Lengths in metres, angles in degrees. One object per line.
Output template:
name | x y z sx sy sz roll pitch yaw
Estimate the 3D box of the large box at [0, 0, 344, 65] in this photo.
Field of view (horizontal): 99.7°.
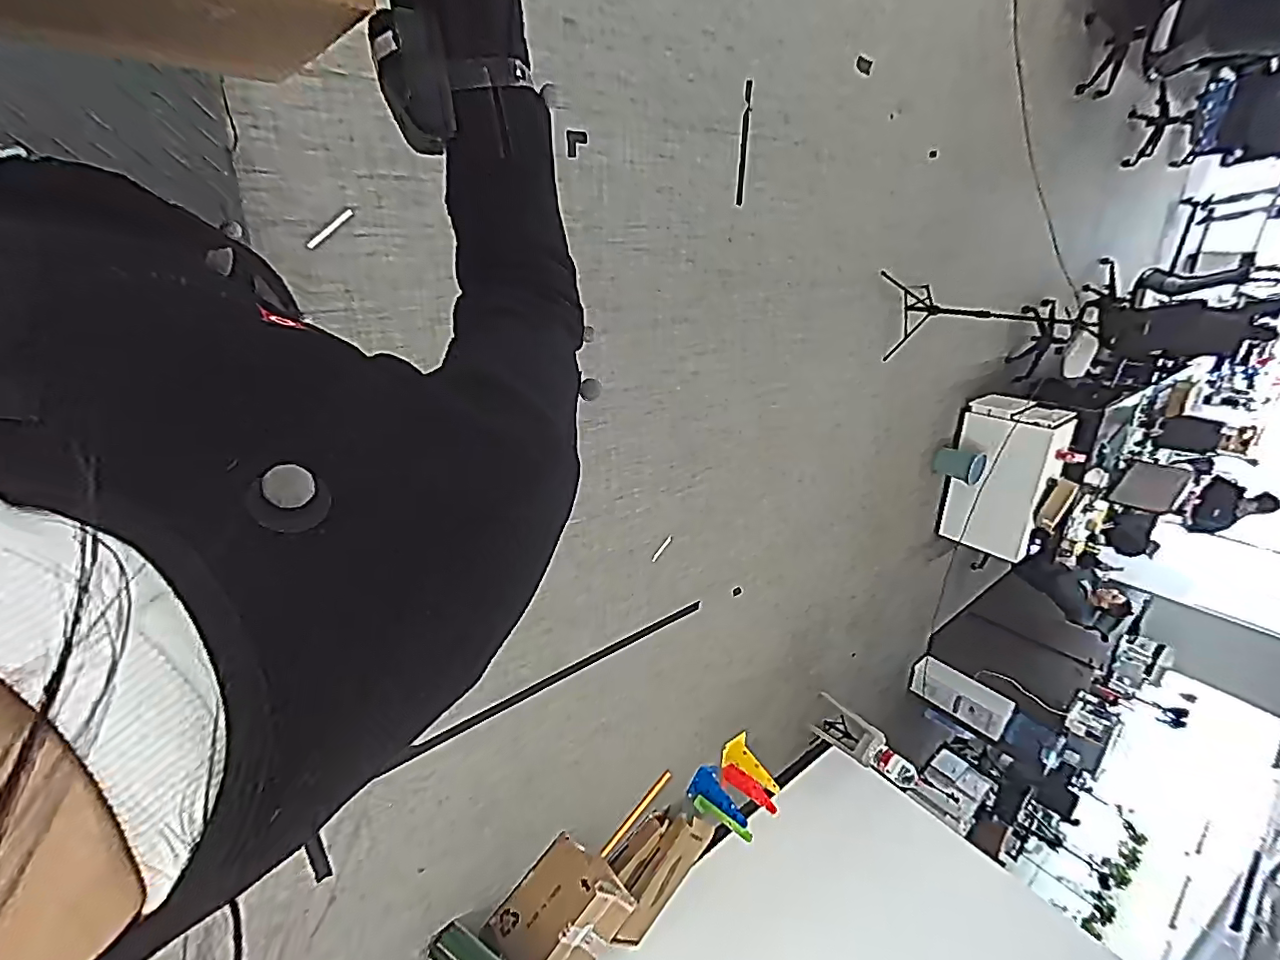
large box | -0.389 -0.409 0.216 0.408 0.320 0.320 -17 125 -36
